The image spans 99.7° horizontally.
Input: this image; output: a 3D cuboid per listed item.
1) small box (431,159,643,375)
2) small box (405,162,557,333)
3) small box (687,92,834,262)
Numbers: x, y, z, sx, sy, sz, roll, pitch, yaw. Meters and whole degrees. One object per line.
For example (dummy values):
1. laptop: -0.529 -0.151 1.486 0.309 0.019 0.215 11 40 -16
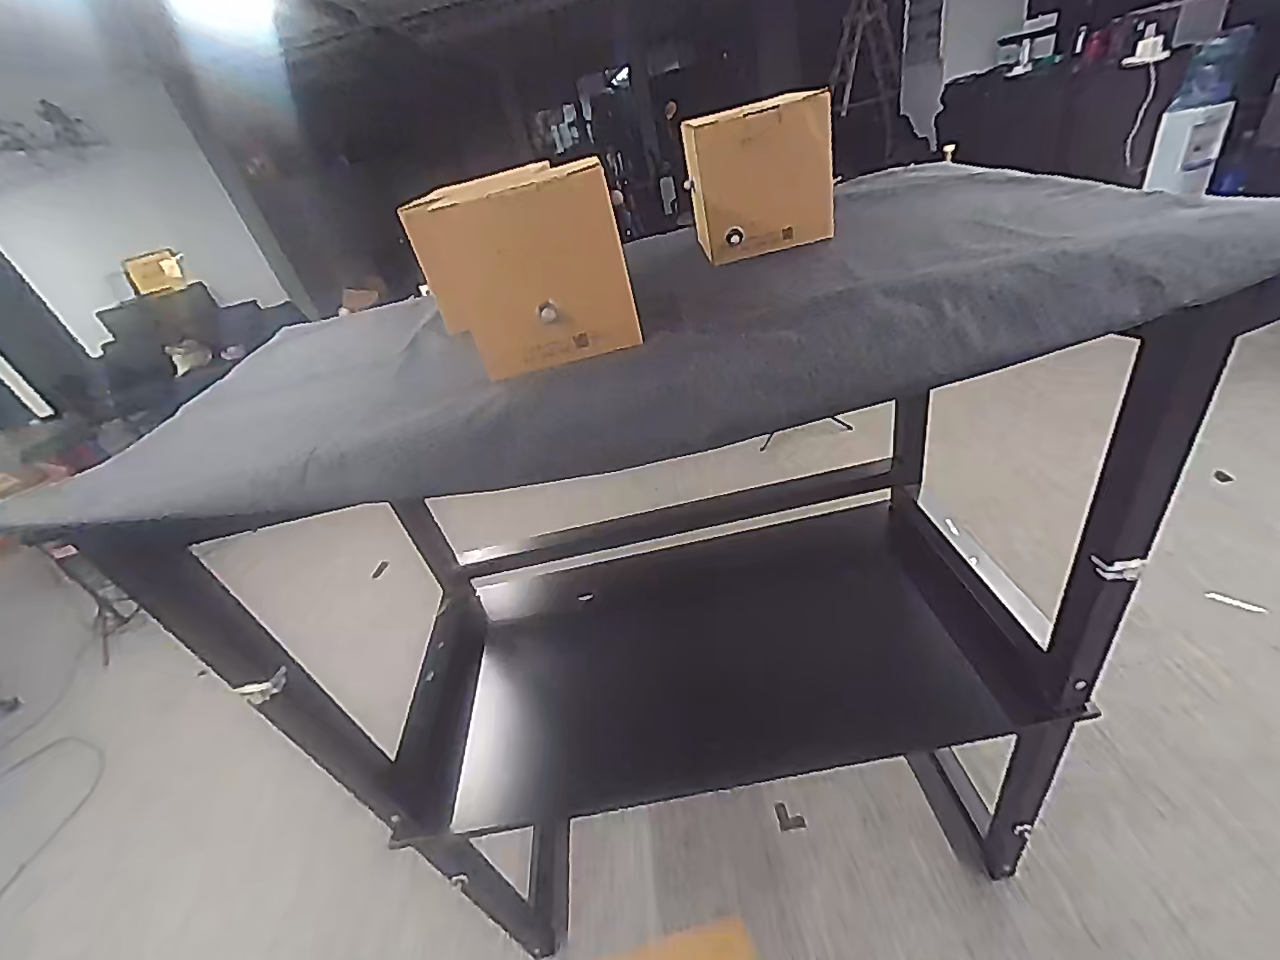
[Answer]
1. small box: -0.097 -0.232 0.587 0.168 0.176 0.179 -13 33 3
2. small box: -0.189 -0.329 0.766 0.179 0.176 0.168 -10 35 8
3. small box: 0.166 -0.419 0.756 0.168 0.176 0.179 -11 34 6
